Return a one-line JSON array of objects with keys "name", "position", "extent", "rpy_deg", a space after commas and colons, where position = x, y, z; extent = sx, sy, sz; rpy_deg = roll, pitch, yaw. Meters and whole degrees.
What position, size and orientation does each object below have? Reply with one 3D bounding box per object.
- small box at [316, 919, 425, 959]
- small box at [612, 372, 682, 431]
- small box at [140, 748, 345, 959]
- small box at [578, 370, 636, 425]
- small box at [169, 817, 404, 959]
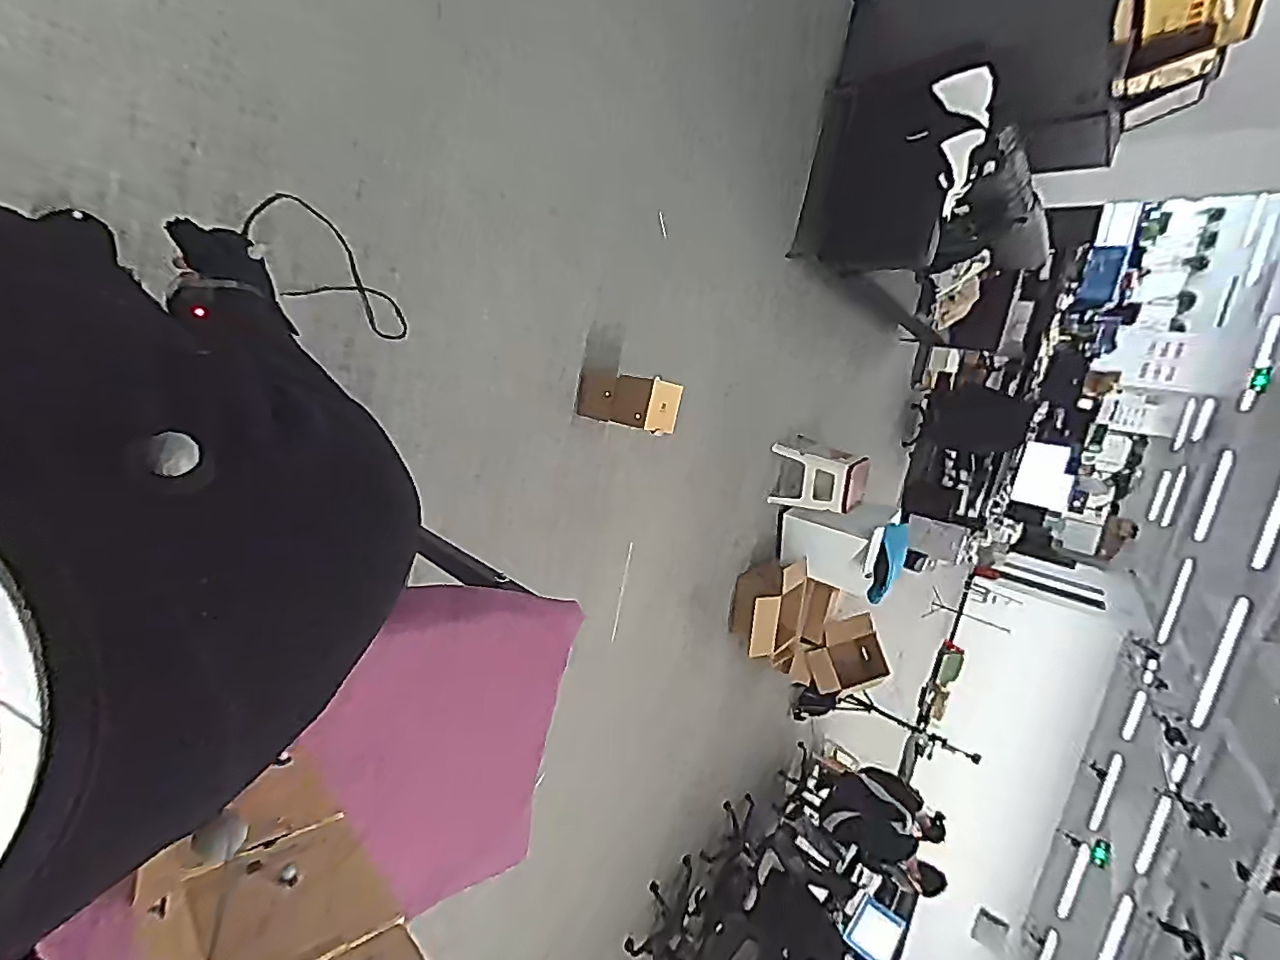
[{"name": "small box", "position": [-0.270, 0.566, 0.486], "extent": [0.168, 0.176, 0.179], "rpy_deg": [6, 100, -51]}, {"name": "small box", "position": [0.022, -0.280, 1.912], "extent": [0.168, 0.176, 0.179], "rpy_deg": [2, 103, -50]}, {"name": "small box", "position": [-0.509, 0.474, 0.690], "extent": [0.168, 0.176, 0.179], "rpy_deg": [7, 100, -50]}, {"name": "small box", "position": [-0.102, -0.308, 2.015], "extent": [0.179, 0.176, 0.168], "rpy_deg": [1, 103, -50]}, {"name": "small box", "position": [-0.388, 0.522, 0.588], "extent": [0.168, 0.176, 0.179], "rpy_deg": [6, 99, -51]}]
